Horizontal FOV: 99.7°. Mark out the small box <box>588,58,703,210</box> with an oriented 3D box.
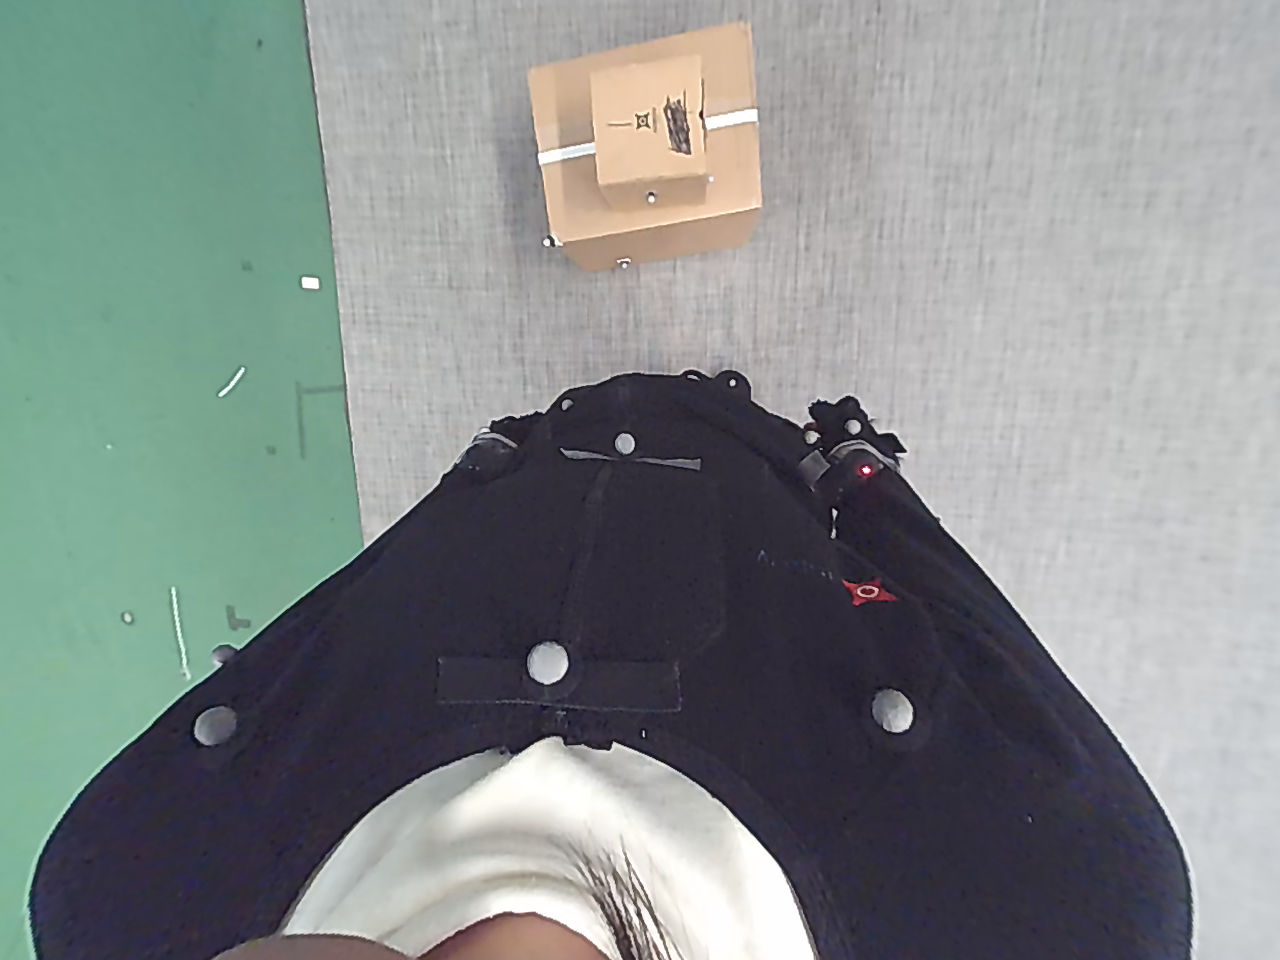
[{"bbox_3d":[0.017,-0.578,0.926,0.179,0.176,0.168,-2,102,8],"label":"small box"}]
